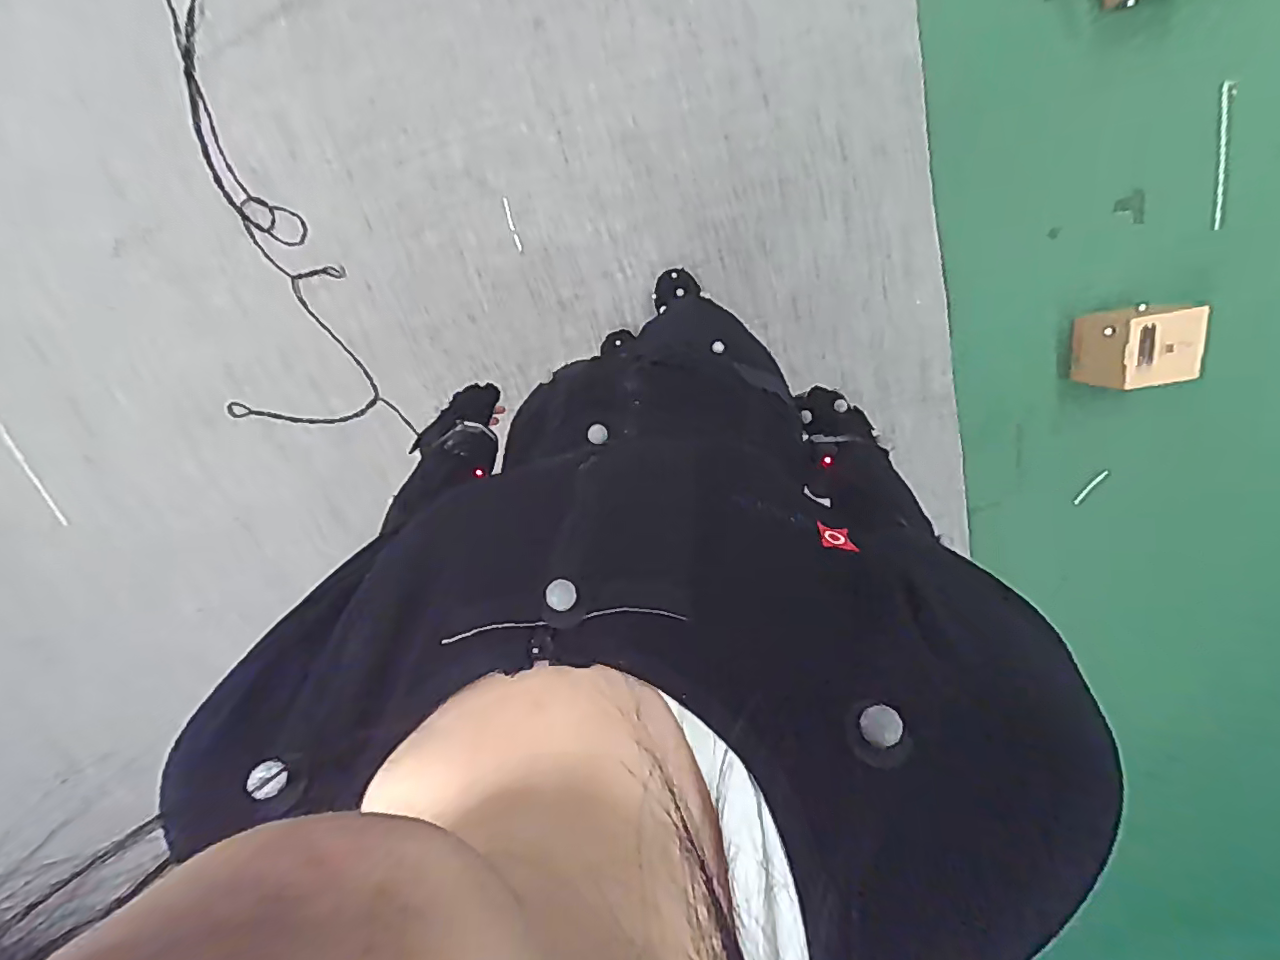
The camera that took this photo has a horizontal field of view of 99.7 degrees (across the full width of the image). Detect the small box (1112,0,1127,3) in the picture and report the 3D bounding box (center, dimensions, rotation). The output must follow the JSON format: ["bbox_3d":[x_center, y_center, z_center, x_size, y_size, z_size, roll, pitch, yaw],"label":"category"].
[{"bbox_3d":[1.053,-1.091,1.060,0.168,0.176,0.179,-17,106,6],"label":"small box"}]
